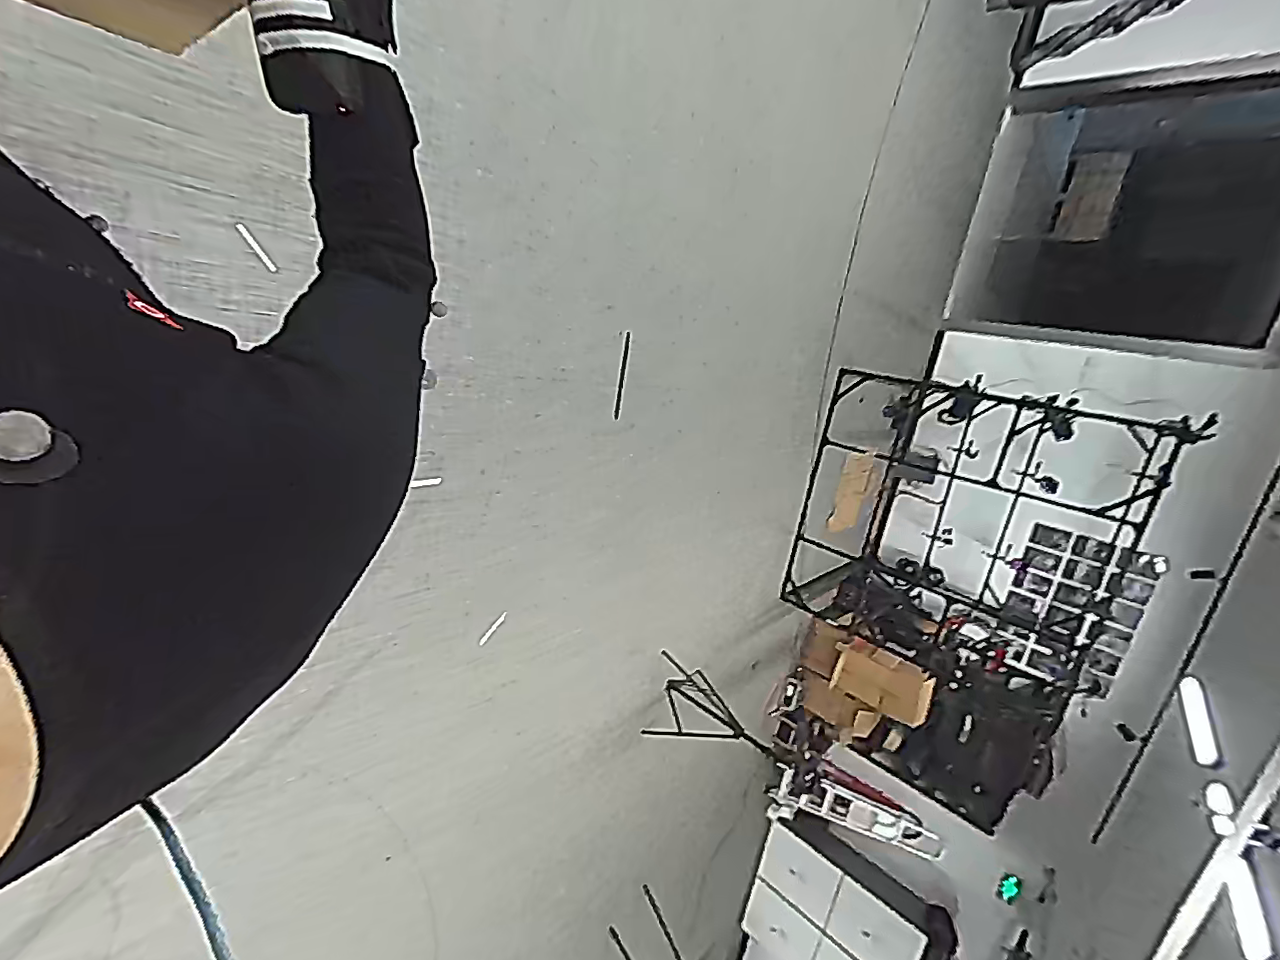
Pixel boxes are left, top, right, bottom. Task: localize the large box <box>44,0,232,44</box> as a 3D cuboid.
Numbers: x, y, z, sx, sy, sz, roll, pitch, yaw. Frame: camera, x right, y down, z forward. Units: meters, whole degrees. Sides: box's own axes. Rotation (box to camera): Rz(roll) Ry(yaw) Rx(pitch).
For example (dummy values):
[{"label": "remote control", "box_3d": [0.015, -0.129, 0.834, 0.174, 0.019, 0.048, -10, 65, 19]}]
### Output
[{"label": "large box", "box_3d": [-0.451, -0.493, 0.250, 0.408, 0.320, 0.320, -10, 117, -49]}]
